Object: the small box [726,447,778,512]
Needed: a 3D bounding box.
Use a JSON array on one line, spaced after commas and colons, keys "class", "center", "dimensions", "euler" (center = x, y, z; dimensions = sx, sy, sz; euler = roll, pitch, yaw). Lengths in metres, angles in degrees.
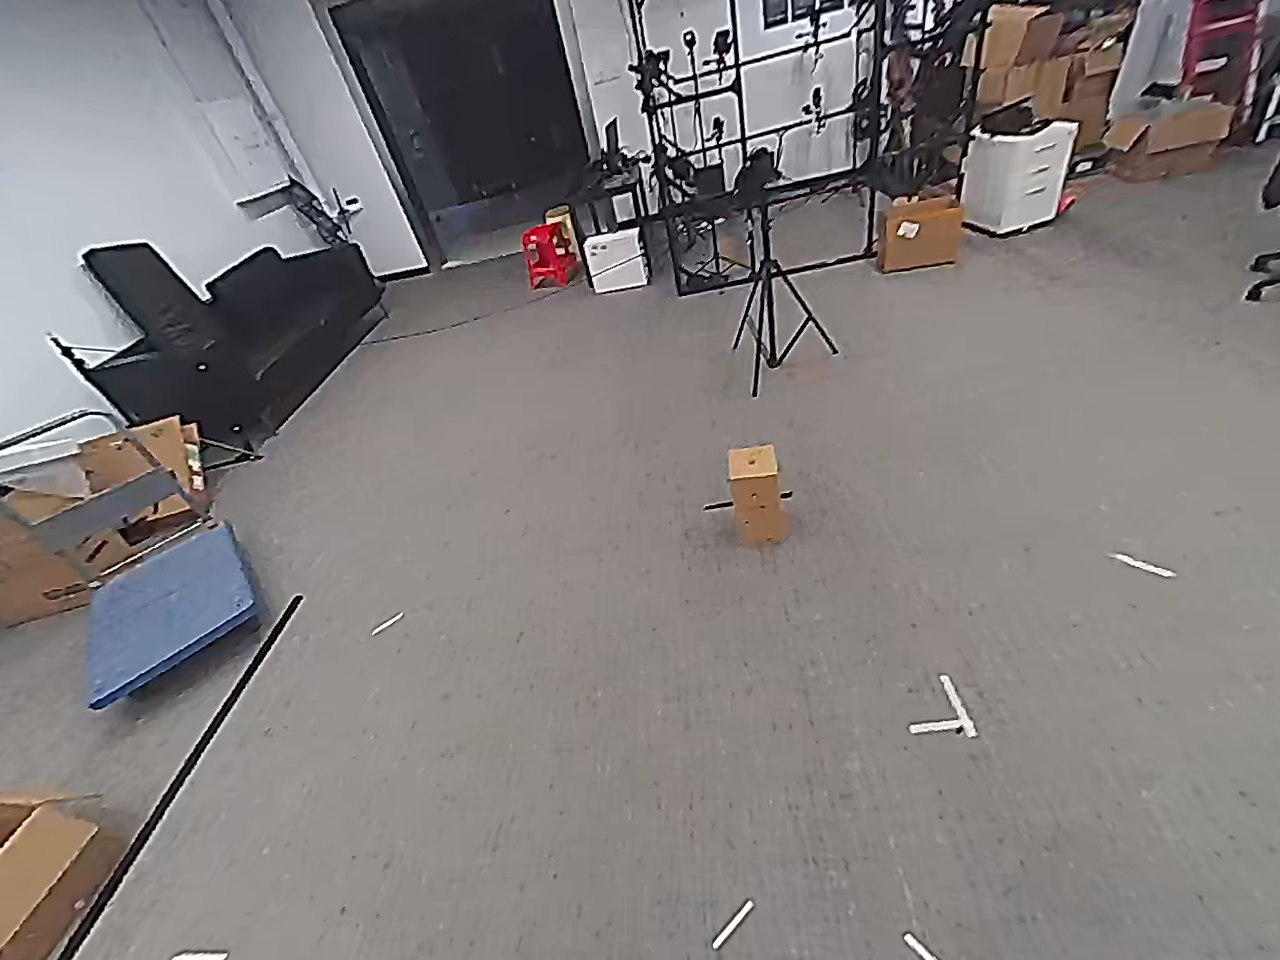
[{"class": "small box", "center": [0.408, 0.005, 1.970], "dimensions": [0.168, 0.176, 0.179], "euler": [-6, 38, 12]}]
